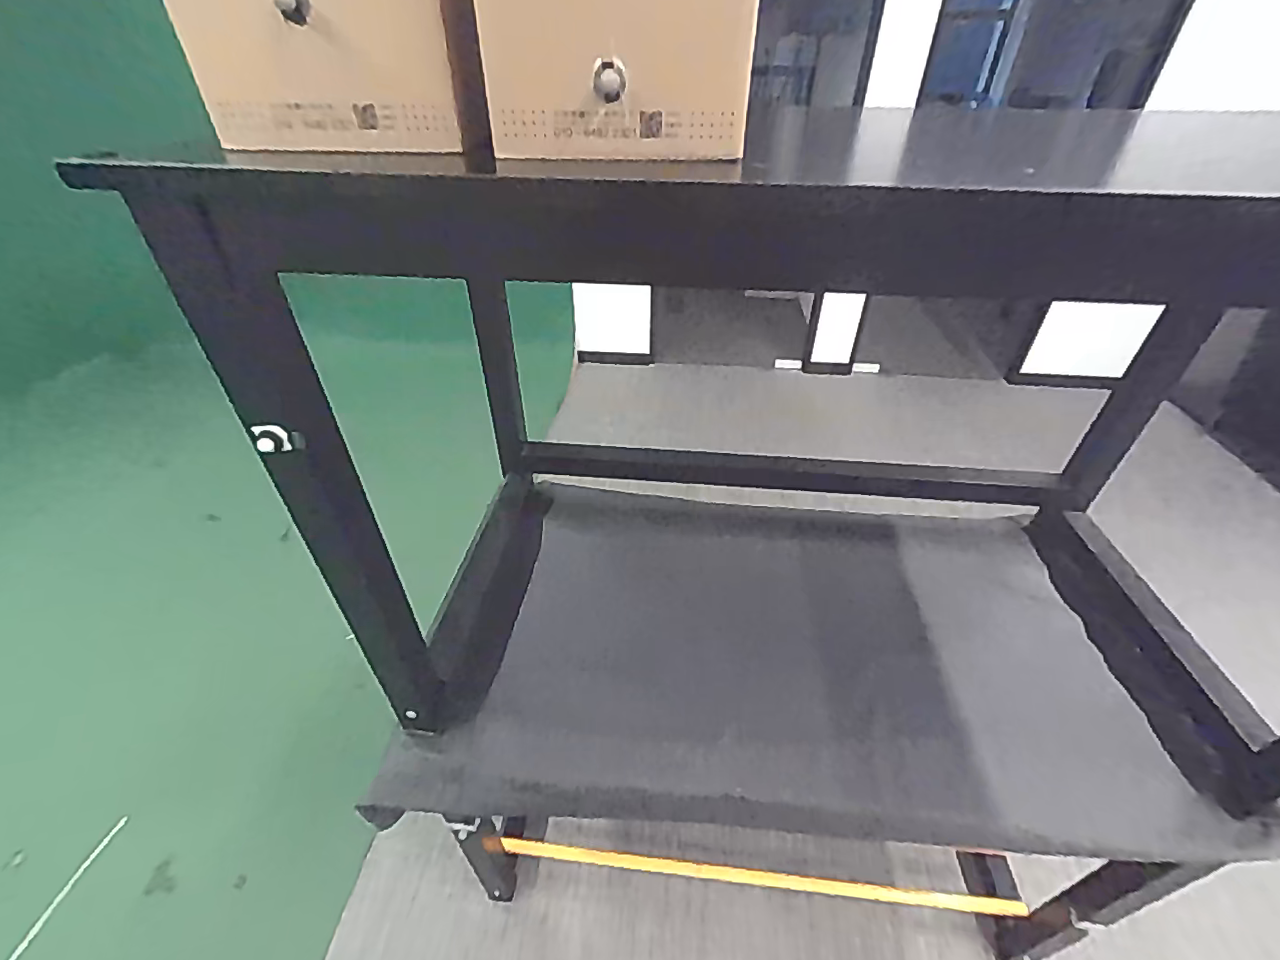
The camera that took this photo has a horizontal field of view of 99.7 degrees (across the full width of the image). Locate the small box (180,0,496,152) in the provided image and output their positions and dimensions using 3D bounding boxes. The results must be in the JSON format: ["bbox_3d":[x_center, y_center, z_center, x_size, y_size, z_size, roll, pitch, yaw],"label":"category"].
[{"bbox_3d":[-0.213,-0.353,0.406,0.168,0.176,0.179,1,37,-2],"label":"small box"}]
